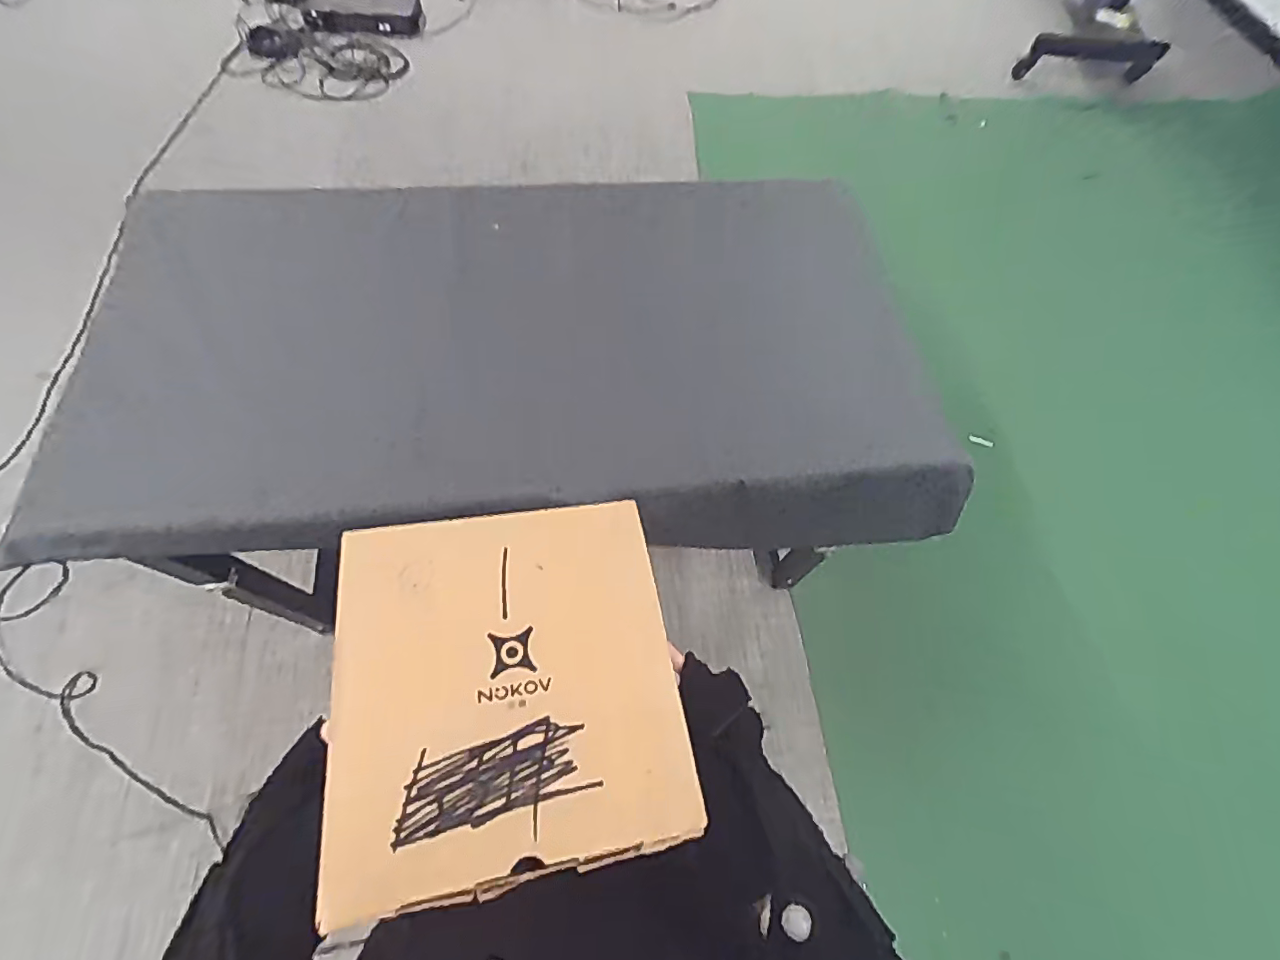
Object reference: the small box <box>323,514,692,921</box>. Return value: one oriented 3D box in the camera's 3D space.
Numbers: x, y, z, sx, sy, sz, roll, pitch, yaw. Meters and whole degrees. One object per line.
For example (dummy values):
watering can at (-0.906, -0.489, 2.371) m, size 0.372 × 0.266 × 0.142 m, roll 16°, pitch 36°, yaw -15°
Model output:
small box at (-0.078, 0.141, 0.347) m, size 0.168 × 0.176 × 0.179 m, roll -4°, pitch 60°, yaw -13°
